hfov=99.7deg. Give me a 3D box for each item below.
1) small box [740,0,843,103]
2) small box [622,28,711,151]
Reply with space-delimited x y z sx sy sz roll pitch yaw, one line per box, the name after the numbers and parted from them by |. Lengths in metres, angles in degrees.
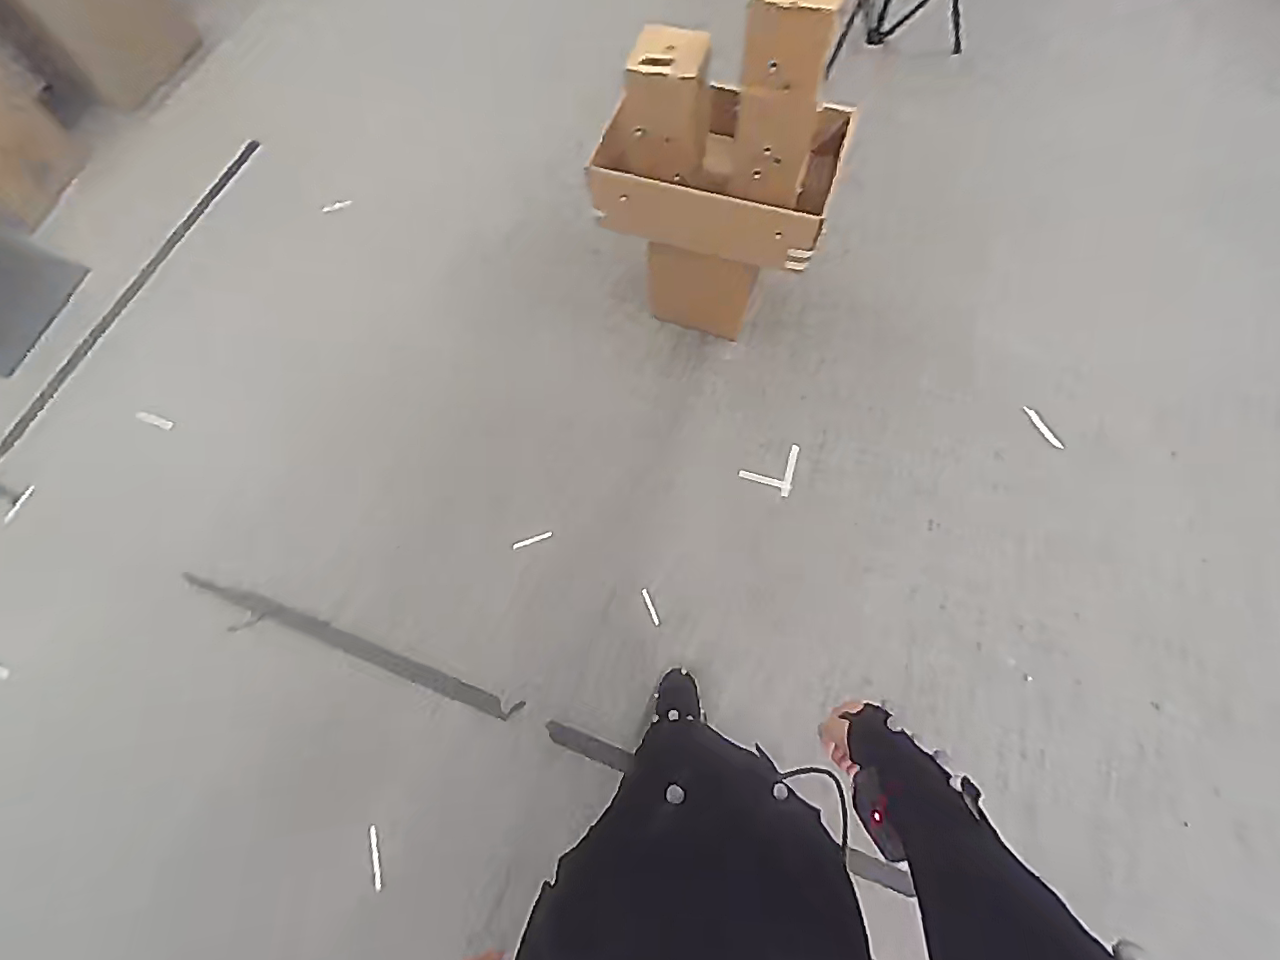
0.307 -0.913 1.092 0.168 0.176 0.179 16 72 10 | small box
0.066 -0.924 1.287 0.168 0.176 0.179 14 68 8 | small box
